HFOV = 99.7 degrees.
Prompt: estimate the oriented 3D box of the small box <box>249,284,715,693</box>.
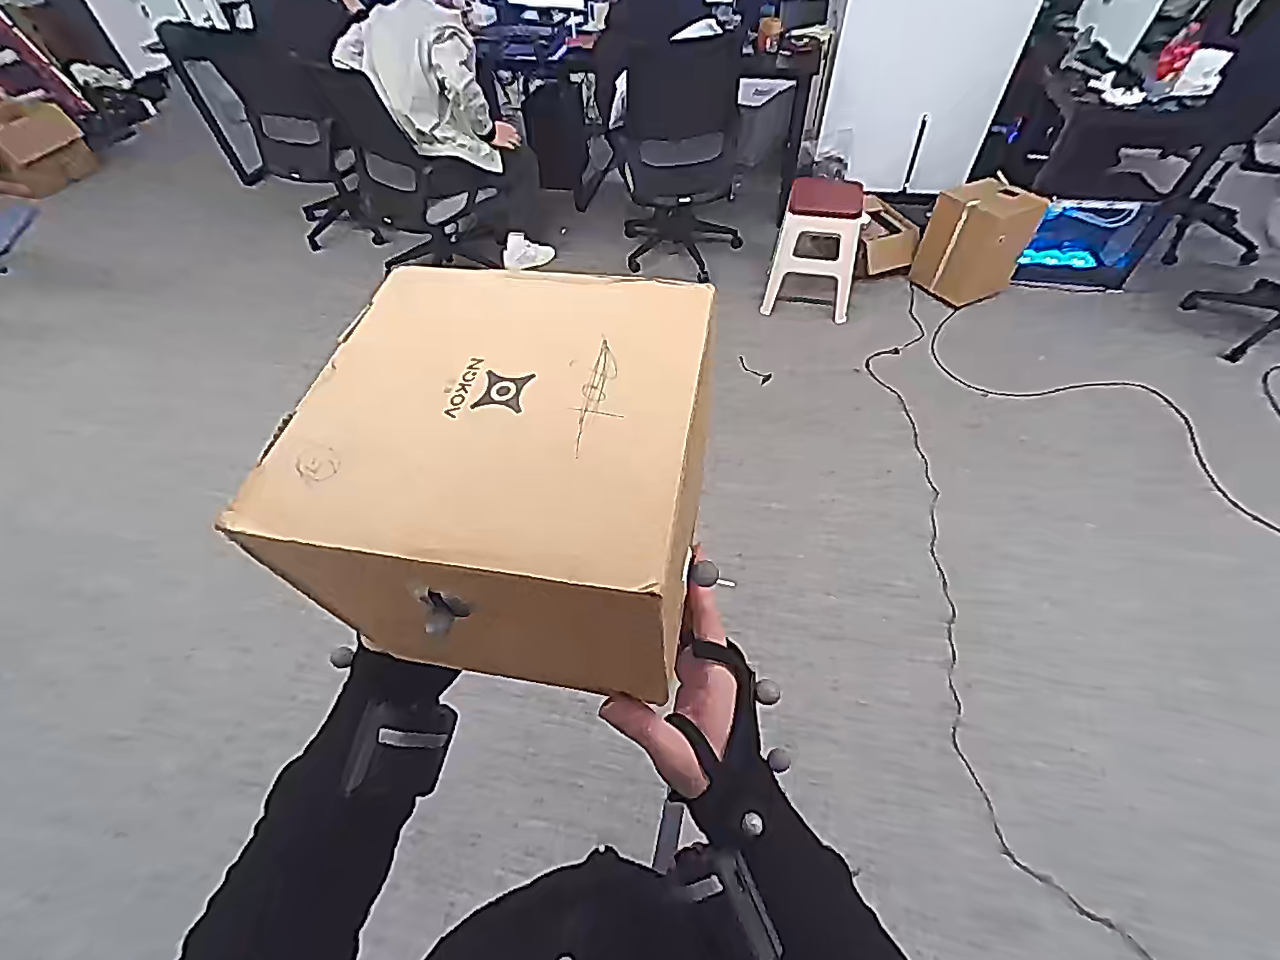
[{"bbox_3d":[-0.056,0.012,0.313,0.179,0.176,0.168,7,57,7],"label":"small box"}]
